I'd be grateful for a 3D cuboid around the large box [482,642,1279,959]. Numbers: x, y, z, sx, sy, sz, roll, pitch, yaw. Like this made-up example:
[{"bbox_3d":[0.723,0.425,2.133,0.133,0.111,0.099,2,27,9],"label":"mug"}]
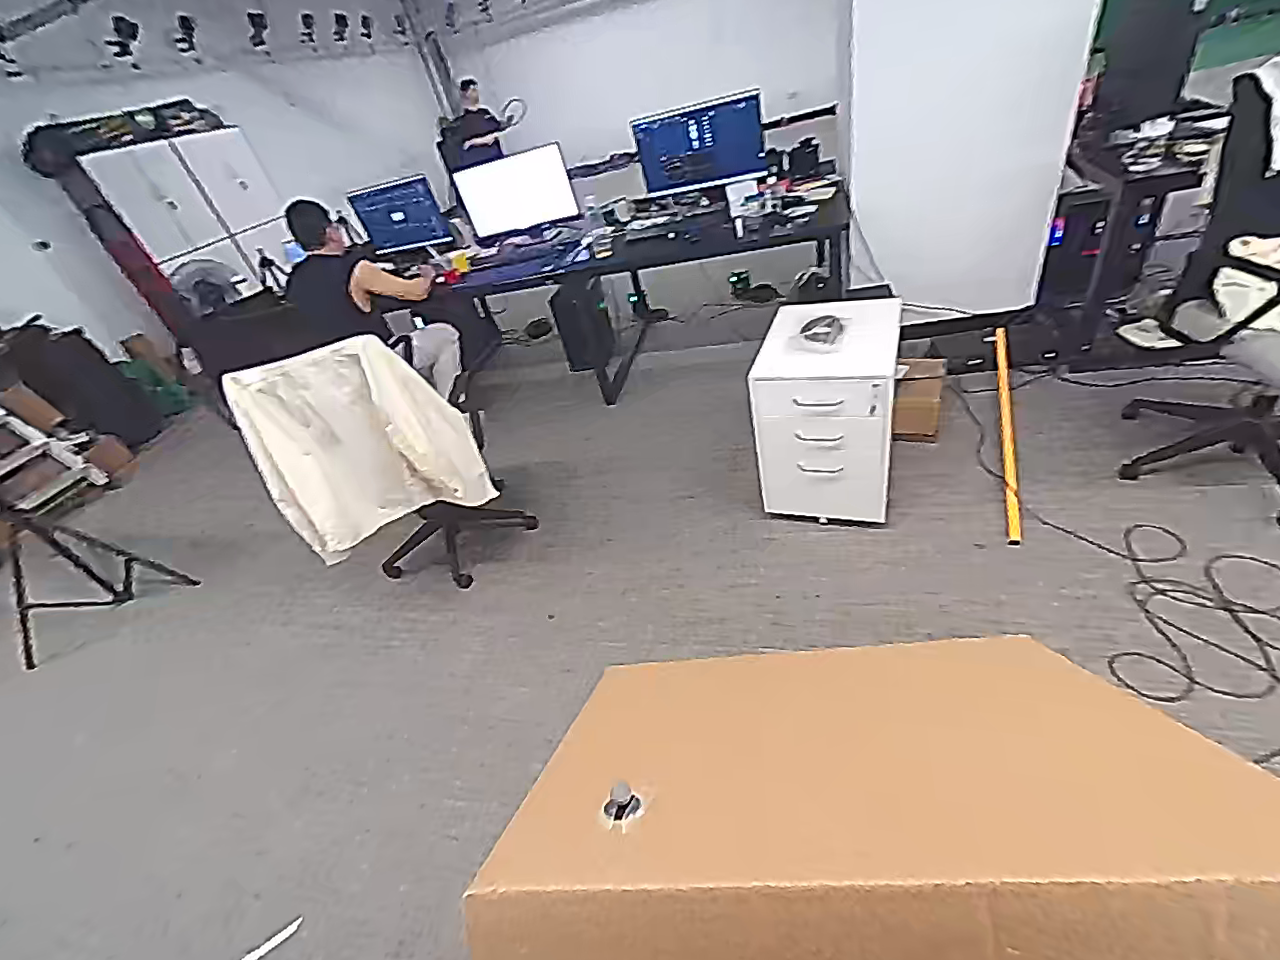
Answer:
[{"bbox_3d":[0.155,0.329,0.392,0.408,0.320,0.320,-9,0,9],"label":"large box"}]
